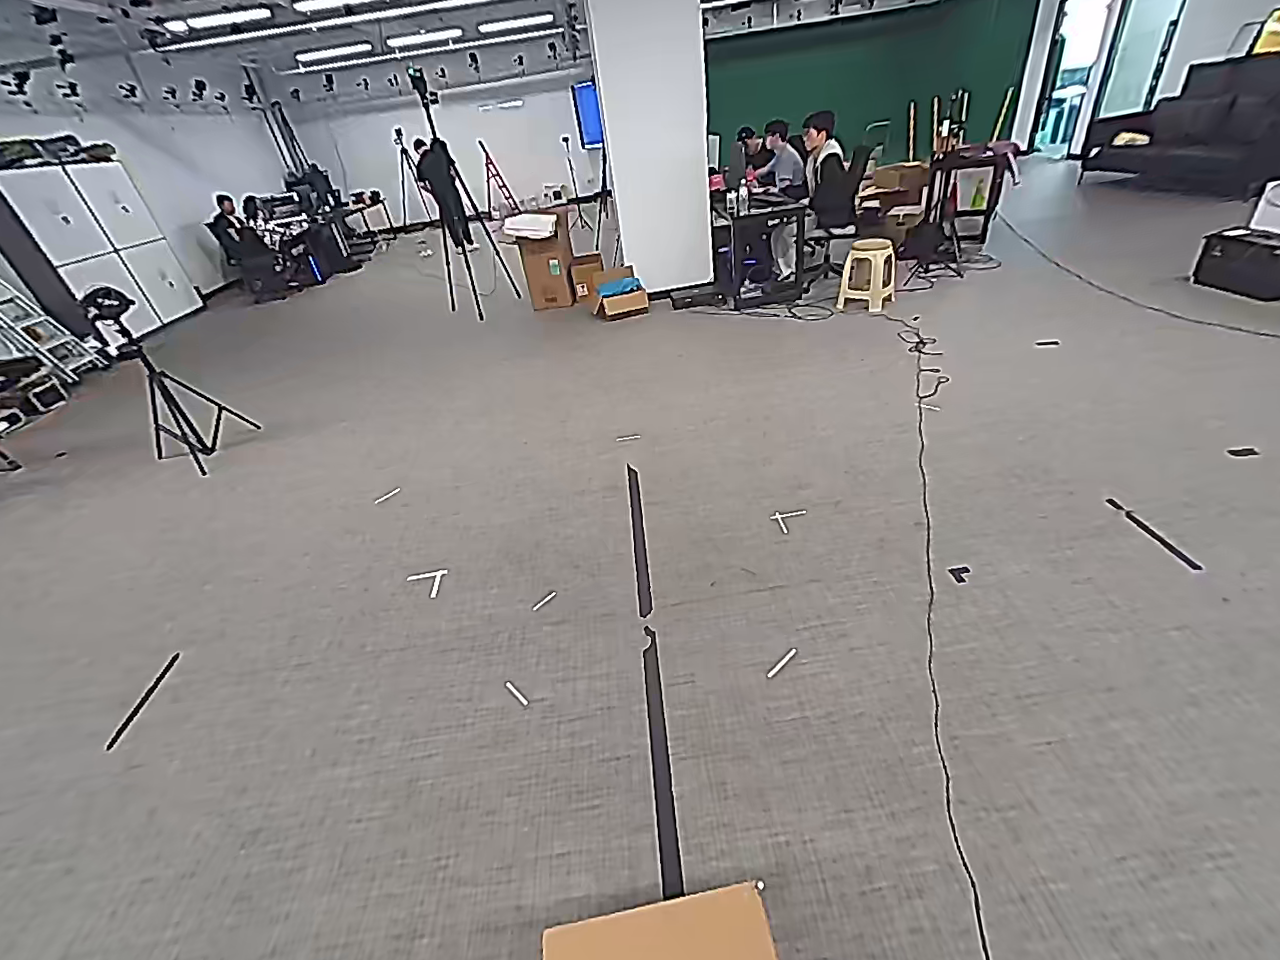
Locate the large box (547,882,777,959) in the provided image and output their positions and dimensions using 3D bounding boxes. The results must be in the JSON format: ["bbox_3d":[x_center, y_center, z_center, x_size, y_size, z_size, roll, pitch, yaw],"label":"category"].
[{"bbox_3d":[0.064,1.002,0.962,0.408,0.320,0.320,-11,33,-3],"label":"large box"}]
